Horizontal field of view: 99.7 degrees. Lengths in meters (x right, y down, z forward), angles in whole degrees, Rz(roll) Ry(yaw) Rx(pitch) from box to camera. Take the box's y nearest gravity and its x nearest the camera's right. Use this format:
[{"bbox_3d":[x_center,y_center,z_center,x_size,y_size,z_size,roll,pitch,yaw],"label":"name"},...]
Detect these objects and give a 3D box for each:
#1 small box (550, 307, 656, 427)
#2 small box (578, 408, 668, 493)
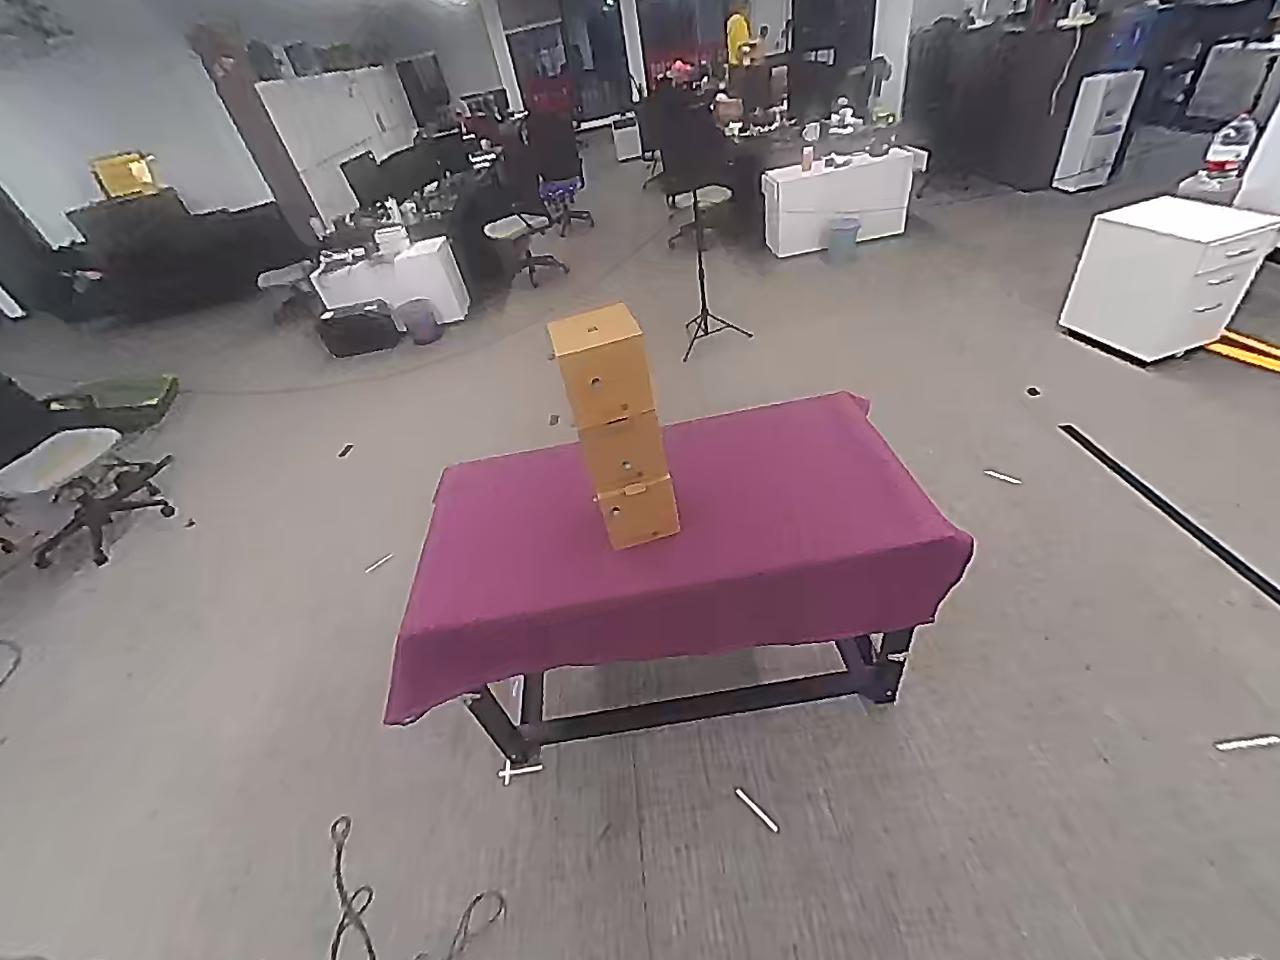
[{"bbox_3d":[-0.073,-0.222,1.090,0.168,0.176,0.179,-16,37,-5],"label":"small box"},{"bbox_3d":[-0.043,-0.099,1.193,0.168,0.176,0.179,-15,38,-2],"label":"small box"}]
